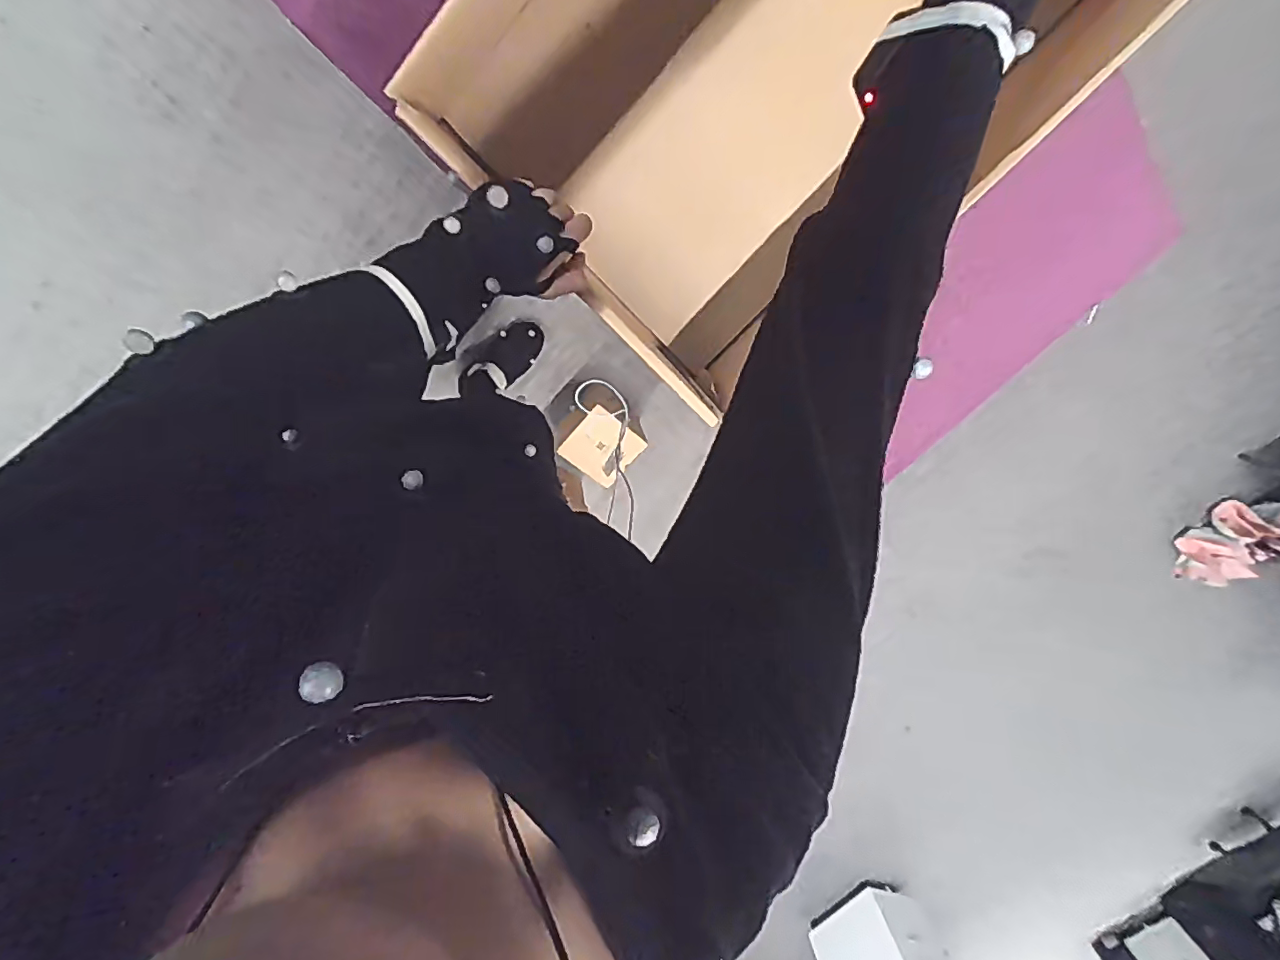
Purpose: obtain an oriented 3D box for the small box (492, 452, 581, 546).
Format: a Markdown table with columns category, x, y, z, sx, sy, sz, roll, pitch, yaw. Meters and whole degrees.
| category | x | y | z | sx | sy | sz | roll | pitch | yaw |
| --- | --- | --- | --- | --- | --- | --- | --- | --- | --- |
| small box | -0.286 | 0.044 | 1.493 | 0.179 | 0.176 | 0.168 | 34 | 106 | -25 |
